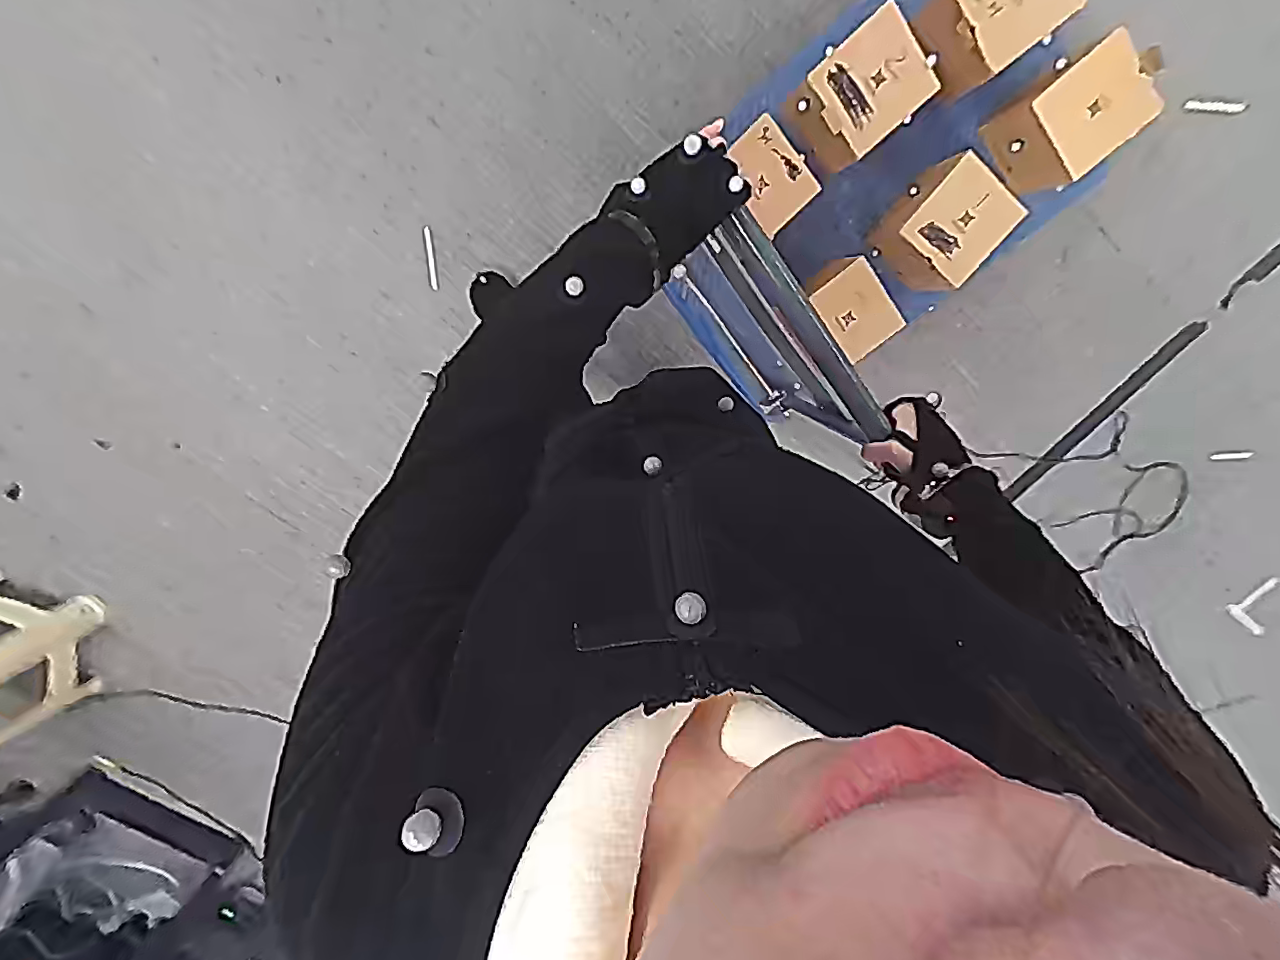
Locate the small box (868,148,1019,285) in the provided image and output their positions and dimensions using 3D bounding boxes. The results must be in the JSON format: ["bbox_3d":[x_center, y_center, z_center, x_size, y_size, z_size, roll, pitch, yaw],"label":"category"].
[{"bbox_3d":[0.587,-0.509,1.078,0.168,0.176,0.179,37,103,-13],"label":"small box"}]

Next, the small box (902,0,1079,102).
[{"bbox_3d":[0.613,-0.832,0.967,0.179,0.176,0.168,-36,106,11],"label":"small box"}]

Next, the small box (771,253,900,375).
[{"bbox_3d":[0.395,-0.345,1.130,0.179,0.176,0.168,-37,106,10],"label":"small box"}]

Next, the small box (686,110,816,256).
[{"bbox_3d":[0.203,-0.559,1.050,0.179,0.176,0.168,-41,106,12],"label":"small box"}]

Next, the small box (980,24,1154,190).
[{"bbox_3d":[0.787,-0.685,1.024,0.179,0.176,0.168,-40,105,11],"label":"small box"}]
